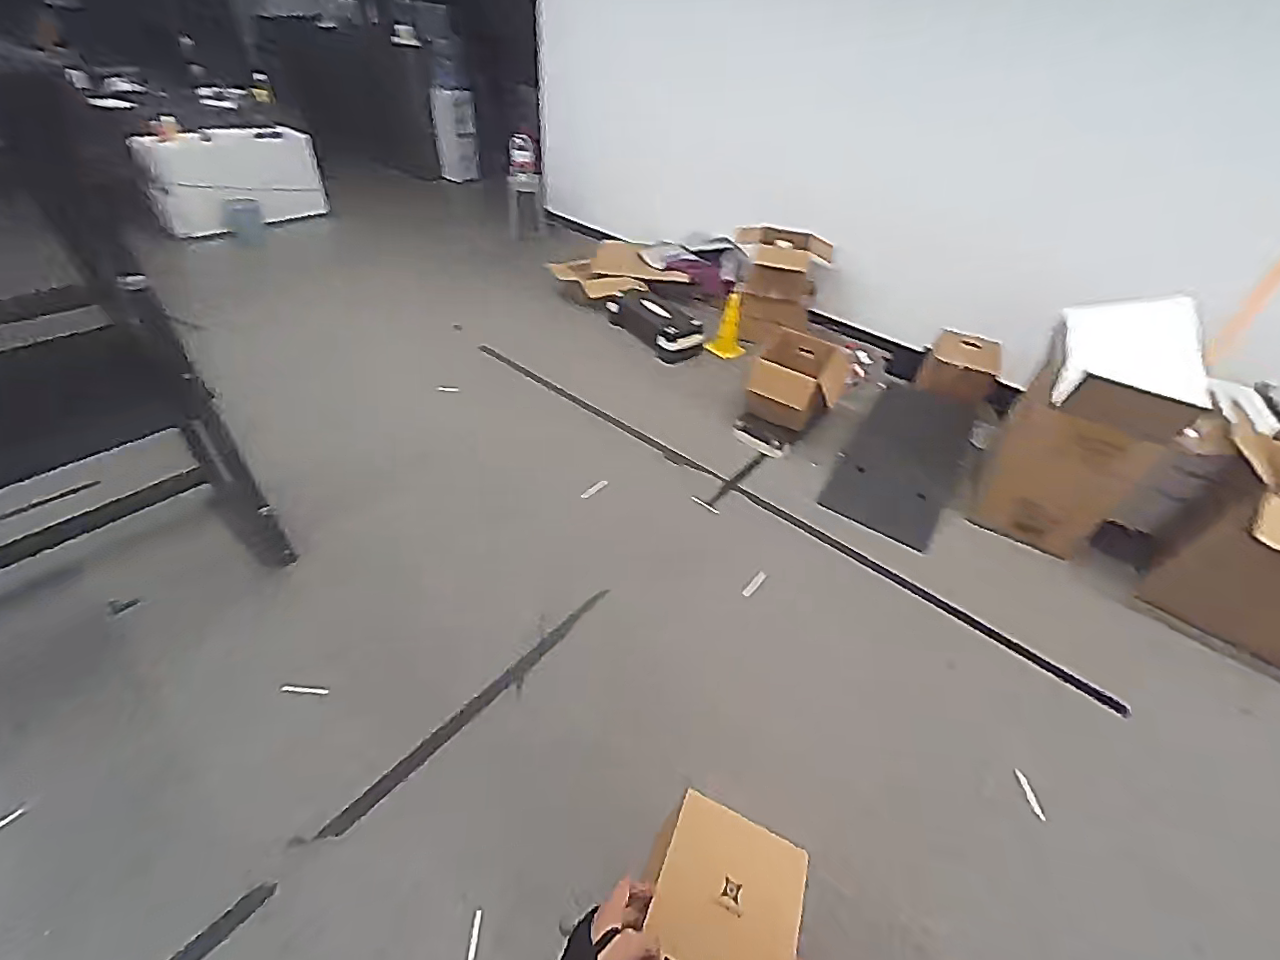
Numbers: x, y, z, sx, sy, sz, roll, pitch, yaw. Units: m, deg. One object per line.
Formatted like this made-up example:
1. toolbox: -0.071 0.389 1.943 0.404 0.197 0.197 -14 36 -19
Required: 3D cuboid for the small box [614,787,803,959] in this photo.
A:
1. small box: 0.081 0.529 0.663 0.168 0.176 0.179 23 39 9
